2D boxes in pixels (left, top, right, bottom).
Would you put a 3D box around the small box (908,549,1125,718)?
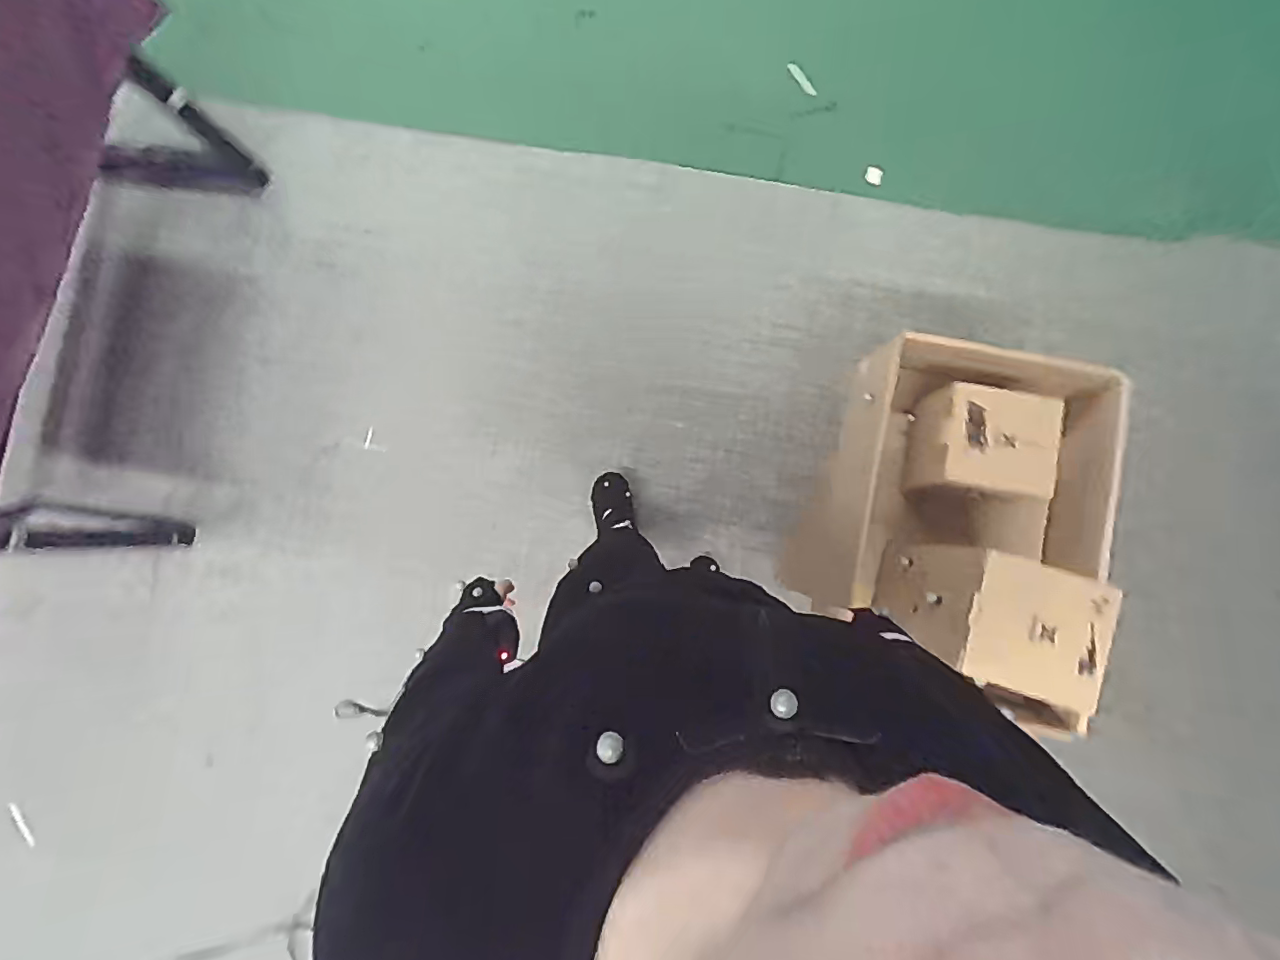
[{"bbox_3d":[0.510,0.202,0.761,0.179,0.176,0.168,18,86,6],"label":"small box"}]
